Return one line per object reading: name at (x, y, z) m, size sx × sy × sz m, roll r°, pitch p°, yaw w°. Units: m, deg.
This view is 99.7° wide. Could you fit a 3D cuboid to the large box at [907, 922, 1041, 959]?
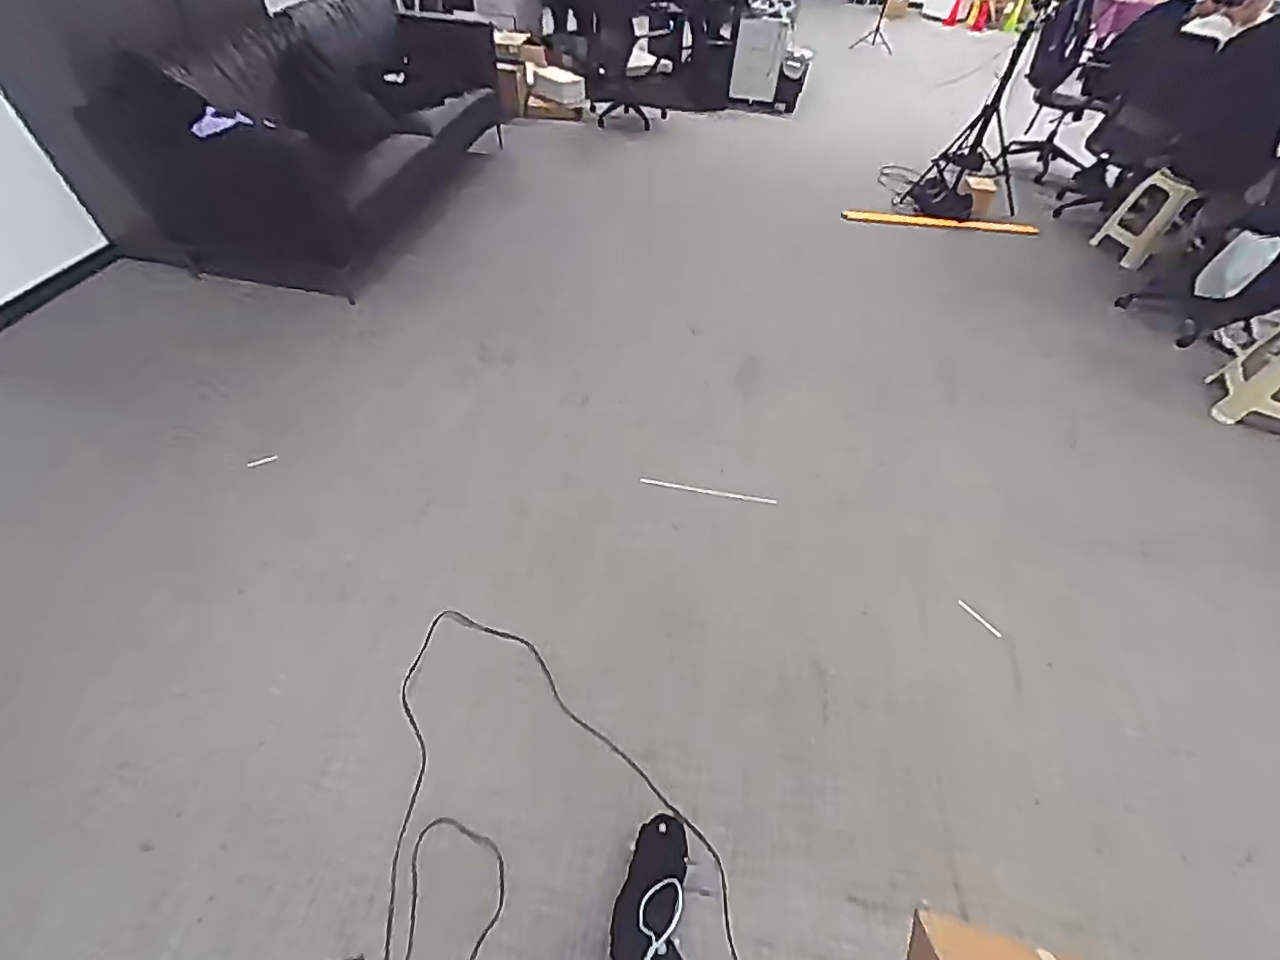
large box at (0.465, 0.775, 0.527) m, size 0.320 × 0.408 × 0.320 m, roll 13°, pitch 86°, yaw 11°
